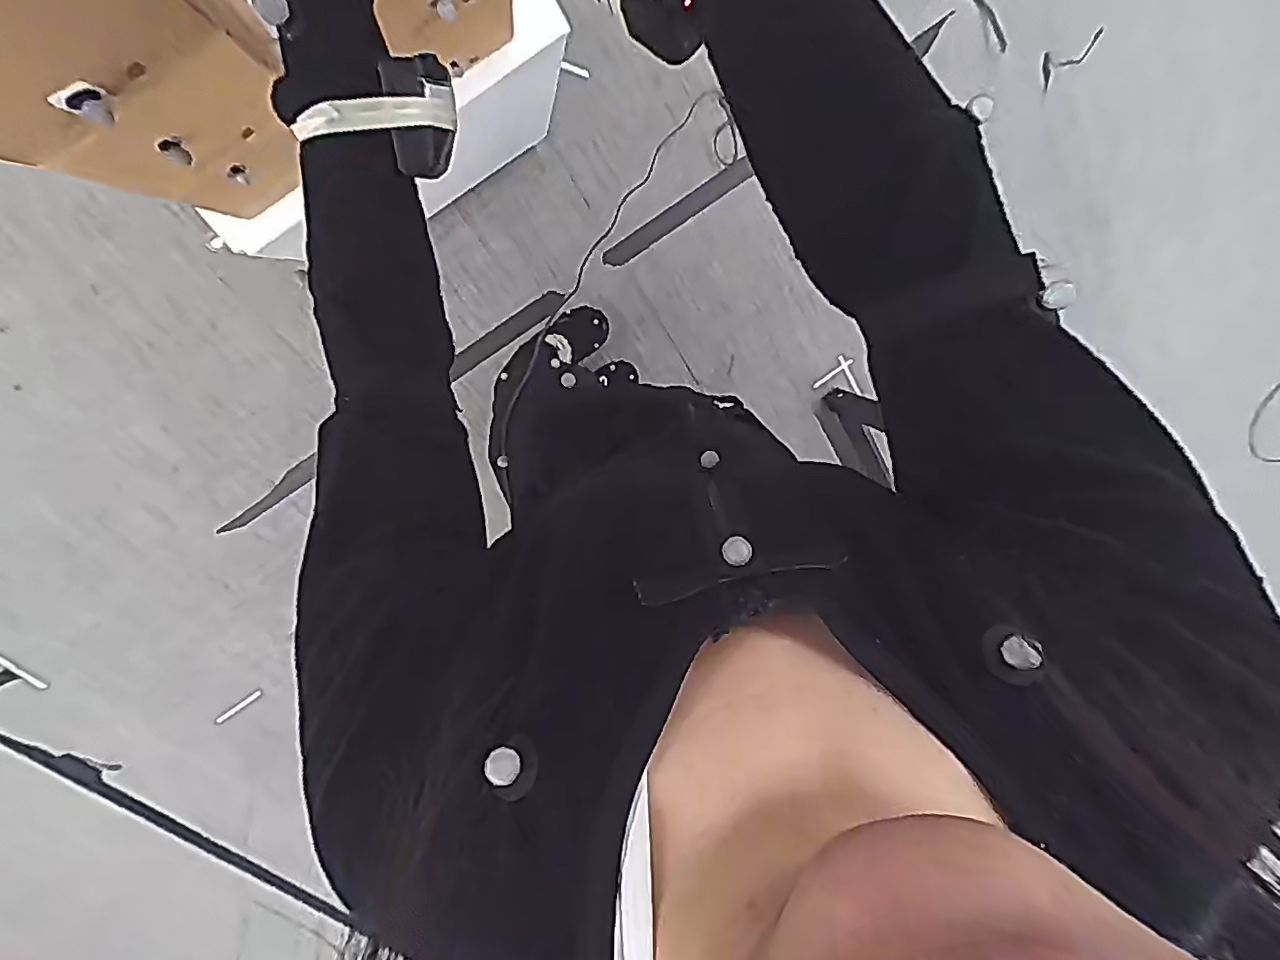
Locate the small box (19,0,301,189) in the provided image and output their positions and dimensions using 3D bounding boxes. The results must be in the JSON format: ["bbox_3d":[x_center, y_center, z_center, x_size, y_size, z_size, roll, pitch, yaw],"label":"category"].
[{"bbox_3d":[-0.415,-0.355,0.421,0.168,0.176,0.179,-36,113,2],"label":"small box"}]

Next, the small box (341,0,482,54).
[{"bbox_3d":[-0.208,-0.489,0.417,0.168,0.176,0.179,-32,114,1],"label":"small box"}]

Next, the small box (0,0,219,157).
[{"bbox_3d":[-0.381,-0.303,0.271,0.168,0.176,0.179,-35,114,3],"label":"small box"}]

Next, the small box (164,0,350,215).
[{"bbox_3d":[-0.450,-0.410,0.570,0.168,0.176,0.179,-35,112,1],"label":"small box"}]
